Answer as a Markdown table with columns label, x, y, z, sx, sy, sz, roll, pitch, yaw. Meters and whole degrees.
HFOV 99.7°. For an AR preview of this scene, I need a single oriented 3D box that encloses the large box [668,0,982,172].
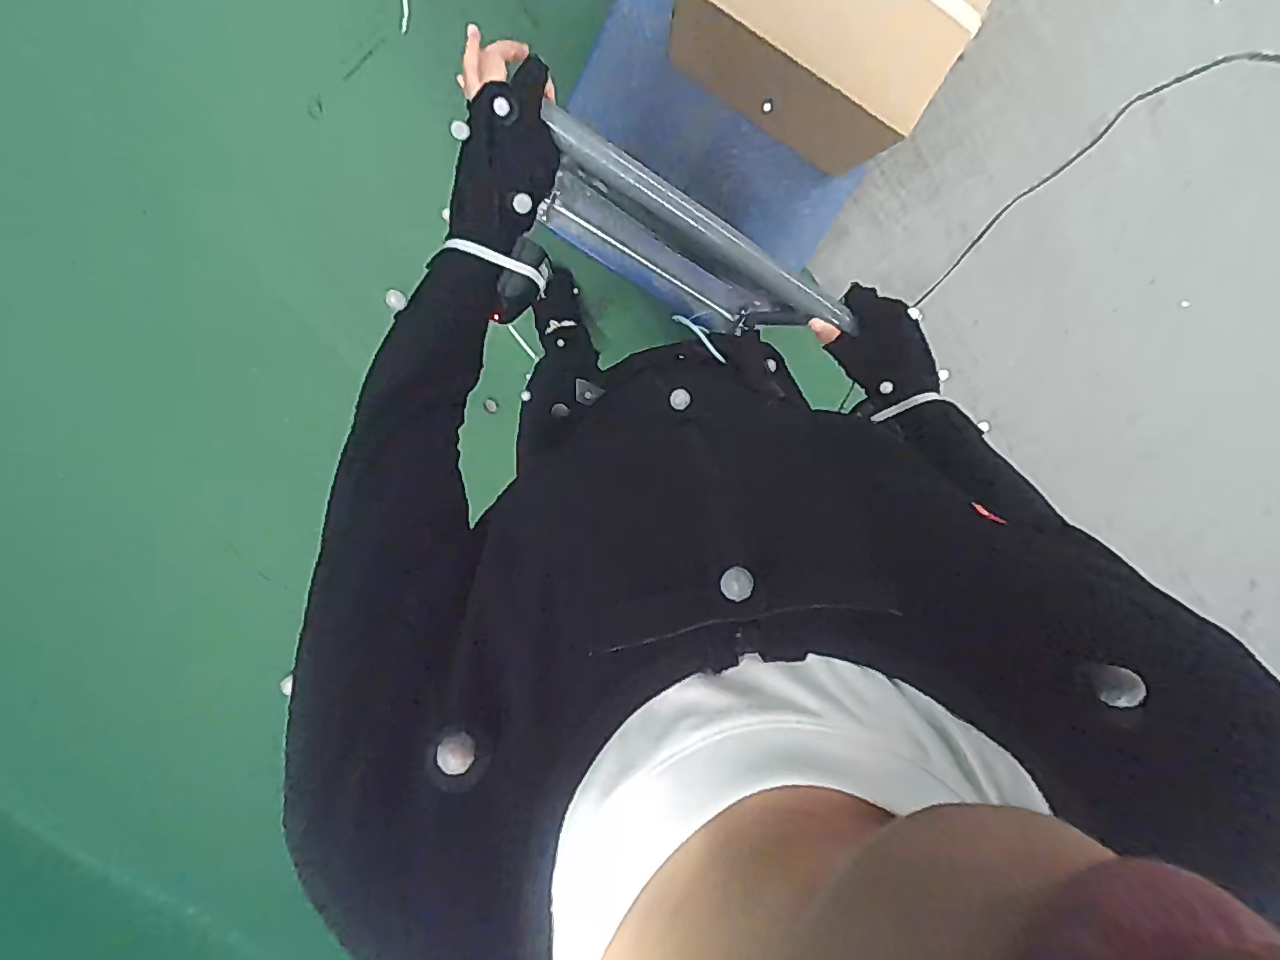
| label | x | y | z | sx | sy | sz | roll | pitch | yaw |
| --- | --- | --- | --- | --- | --- | --- | --- | --- | --- |
| large box | 0.297 | -0.788 | 0.896 | 0.408 | 0.320 | 0.320 | 27 | 106 | -9 |
